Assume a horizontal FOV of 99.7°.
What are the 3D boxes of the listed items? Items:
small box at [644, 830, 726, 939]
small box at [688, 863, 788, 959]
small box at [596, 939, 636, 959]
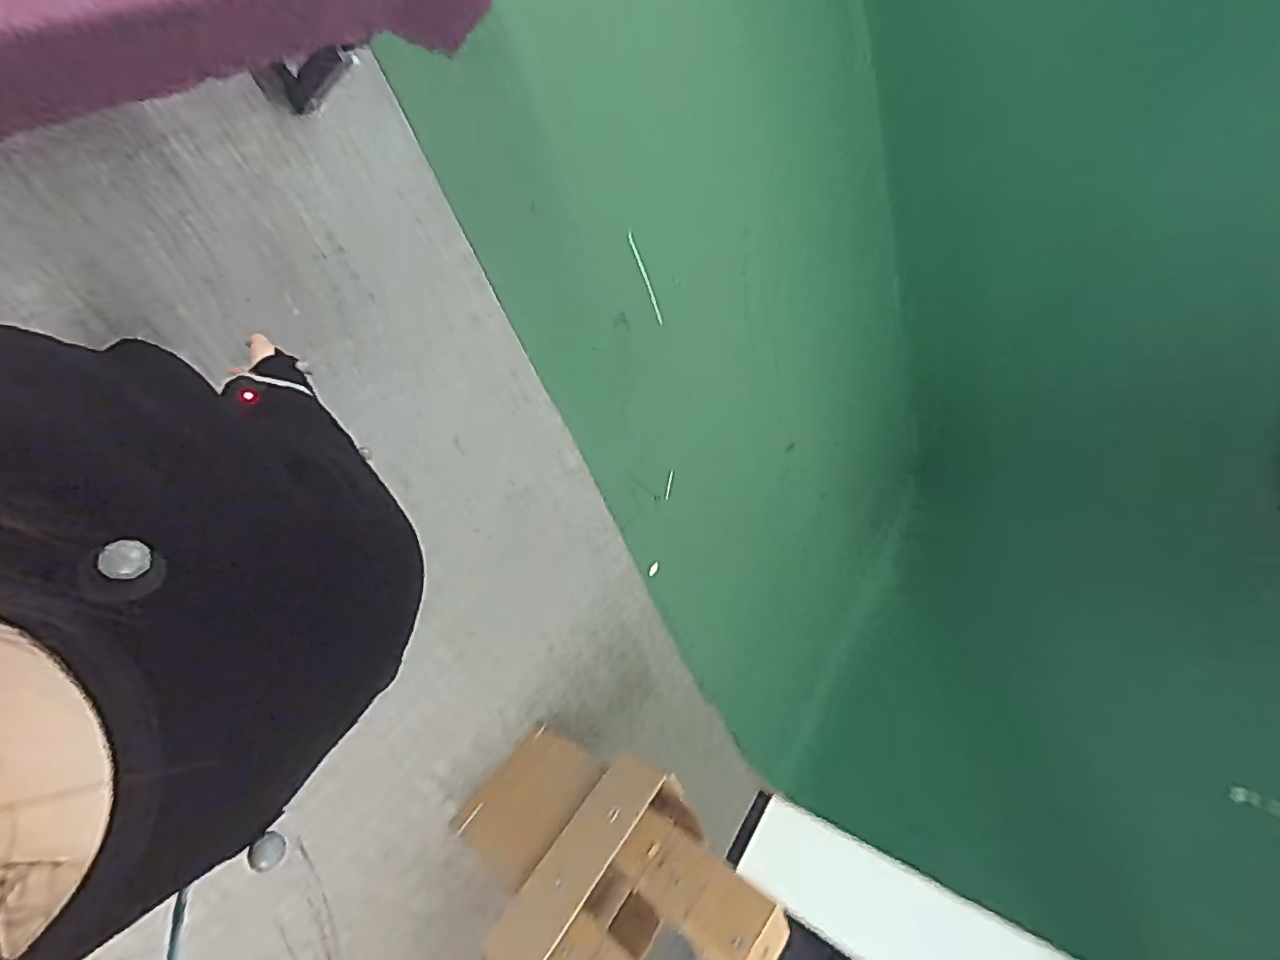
[{"bbox_3d":[0.136,1.101,1.471,0.168,0.176,0.179,-37,122,-34],"label":"small box"},{"bbox_3d":[0.245,1.119,1.353,0.179,0.176,0.168,-34,119,-35],"label":"small box"},{"bbox_3d":[-0.042,1.276,1.312,0.168,0.176,0.179,-43,124,-33],"label":"small box"}]
